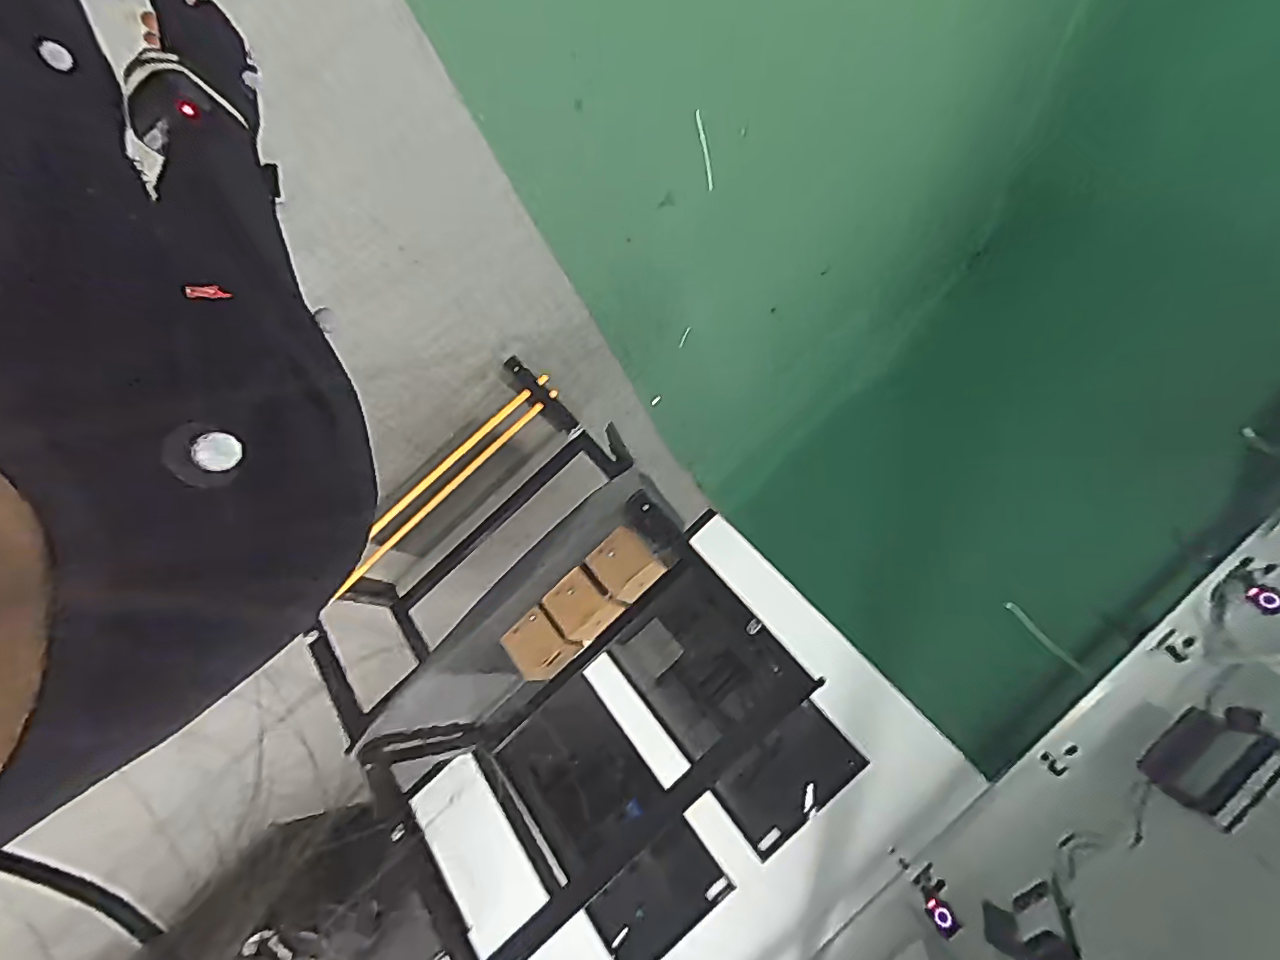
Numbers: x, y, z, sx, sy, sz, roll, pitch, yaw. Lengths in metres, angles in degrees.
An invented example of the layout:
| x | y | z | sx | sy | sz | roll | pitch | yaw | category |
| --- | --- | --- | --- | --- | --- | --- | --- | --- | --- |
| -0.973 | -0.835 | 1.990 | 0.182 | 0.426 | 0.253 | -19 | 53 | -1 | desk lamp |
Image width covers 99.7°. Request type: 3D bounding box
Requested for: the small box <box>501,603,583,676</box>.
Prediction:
| x | y | z | sx | sy | sz | roll | pitch | yaw | category |
| --- | --- | --- | --- | --- | --- | --- | --- | --- | --- |
| -0.326 | 0.526 | 1.789 | 0.168 | 0.176 | 0.179 | -43 | 155 | 1 | small box |

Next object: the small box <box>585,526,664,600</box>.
| x | y | z | sx | sy | sz | roll | pitch | yaw | category |
| --- | --- | --- | --- | --- | --- | --- | --- | --- | --- |
| -0.051 | 0.272 | 1.786 | 0.168 | 0.176 | 0.179 | -43 | 155 | 1 | small box |
